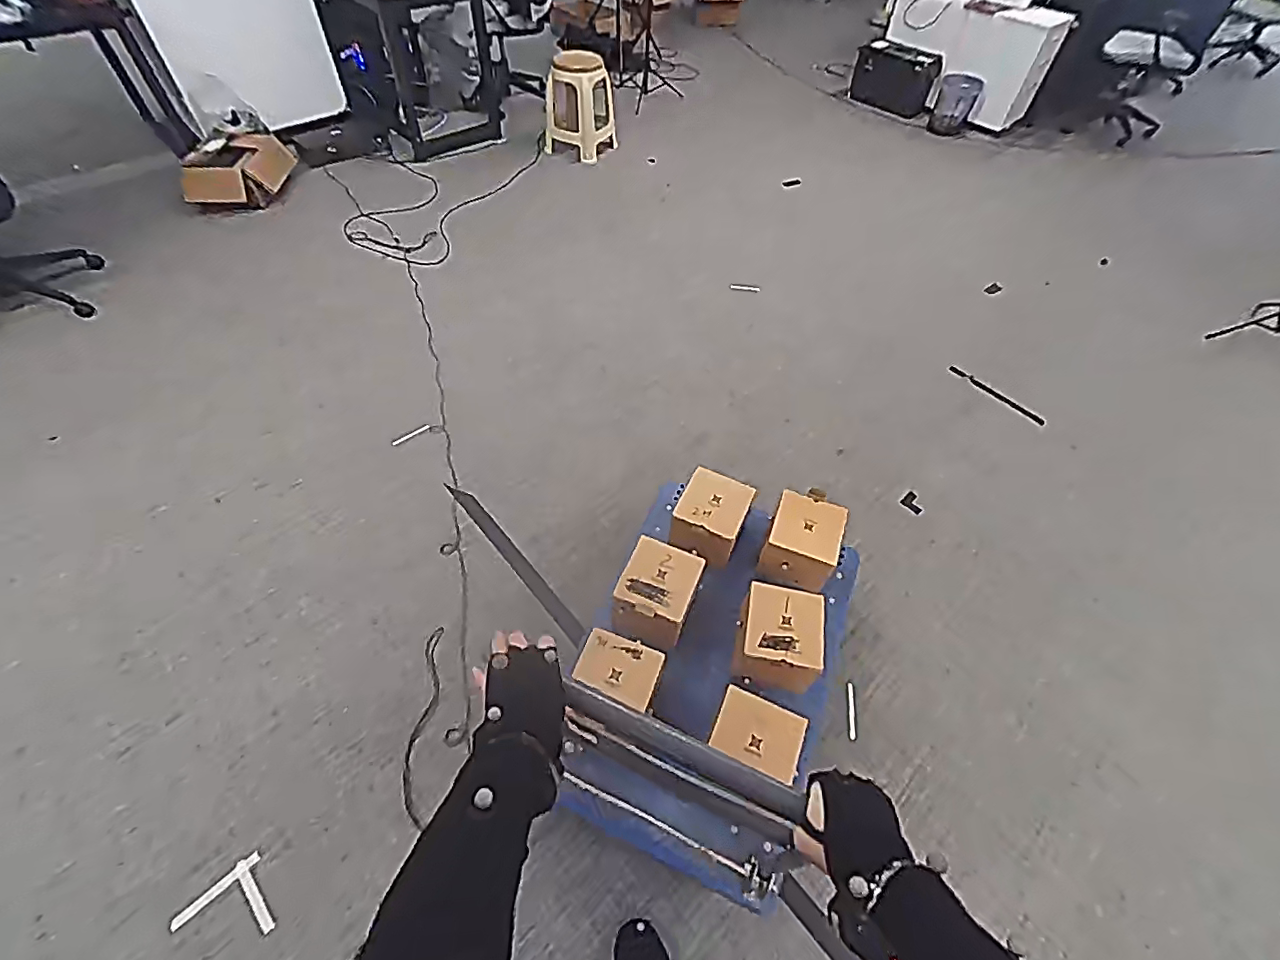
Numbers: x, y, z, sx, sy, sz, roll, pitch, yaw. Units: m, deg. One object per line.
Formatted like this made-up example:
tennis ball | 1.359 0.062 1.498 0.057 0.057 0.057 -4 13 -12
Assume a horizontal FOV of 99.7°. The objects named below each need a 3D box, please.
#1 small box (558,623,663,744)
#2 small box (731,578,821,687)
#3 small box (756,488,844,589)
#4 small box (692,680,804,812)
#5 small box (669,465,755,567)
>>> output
small box | -0.059 0.443 1.165 0.168 0.176 0.179 19 55 11
small box | 0.310 0.357 1.247 0.168 0.176 0.179 12 53 6
small box | 0.409 0.156 1.402 0.168 0.176 0.179 19 55 11
small box | 0.213 0.547 1.102 0.168 0.176 0.179 22 55 13
small box | 0.183 0.097 1.431 0.168 0.176 0.179 23 57 14
